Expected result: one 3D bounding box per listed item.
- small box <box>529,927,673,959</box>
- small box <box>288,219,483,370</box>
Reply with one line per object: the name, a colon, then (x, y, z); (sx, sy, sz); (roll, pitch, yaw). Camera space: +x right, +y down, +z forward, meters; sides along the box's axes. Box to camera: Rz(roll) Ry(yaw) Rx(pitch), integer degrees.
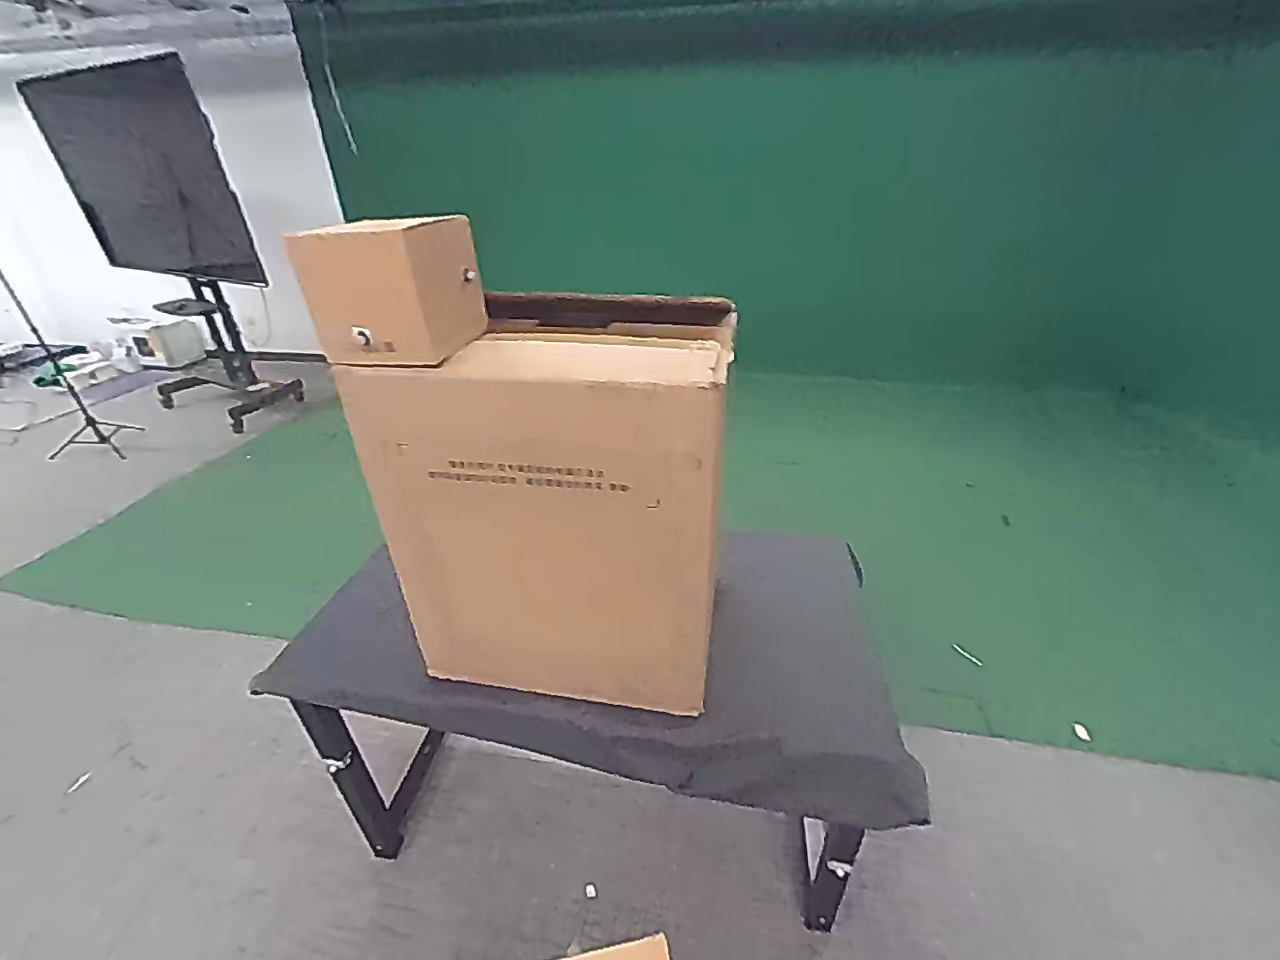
small box: (-0.044, 0.480, 0.413); (0.168, 0.176, 0.179); (-6, 44, -10)
small box: (-0.337, -0.263, 0.760); (0.168, 0.176, 0.179); (1, 32, 10)
